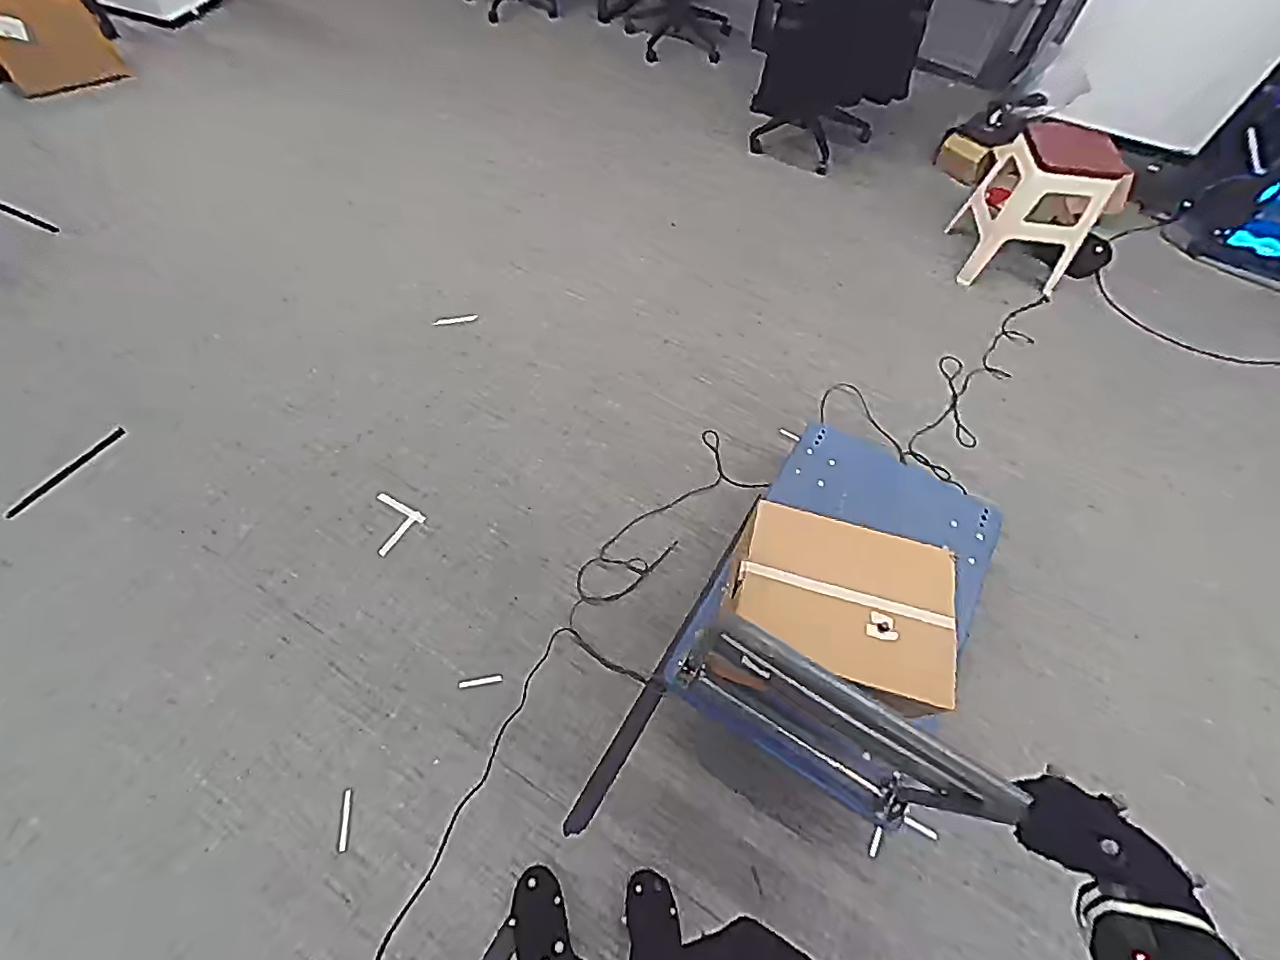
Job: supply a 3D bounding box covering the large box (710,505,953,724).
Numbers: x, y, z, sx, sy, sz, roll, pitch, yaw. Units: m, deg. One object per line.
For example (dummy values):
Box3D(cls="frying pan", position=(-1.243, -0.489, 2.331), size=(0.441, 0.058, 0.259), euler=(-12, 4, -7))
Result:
Box3D(cls="large box", position=(0.394, 0.299, 1.174), size=(0.408, 0.320, 0.320), euler=(16, 61, 6))
